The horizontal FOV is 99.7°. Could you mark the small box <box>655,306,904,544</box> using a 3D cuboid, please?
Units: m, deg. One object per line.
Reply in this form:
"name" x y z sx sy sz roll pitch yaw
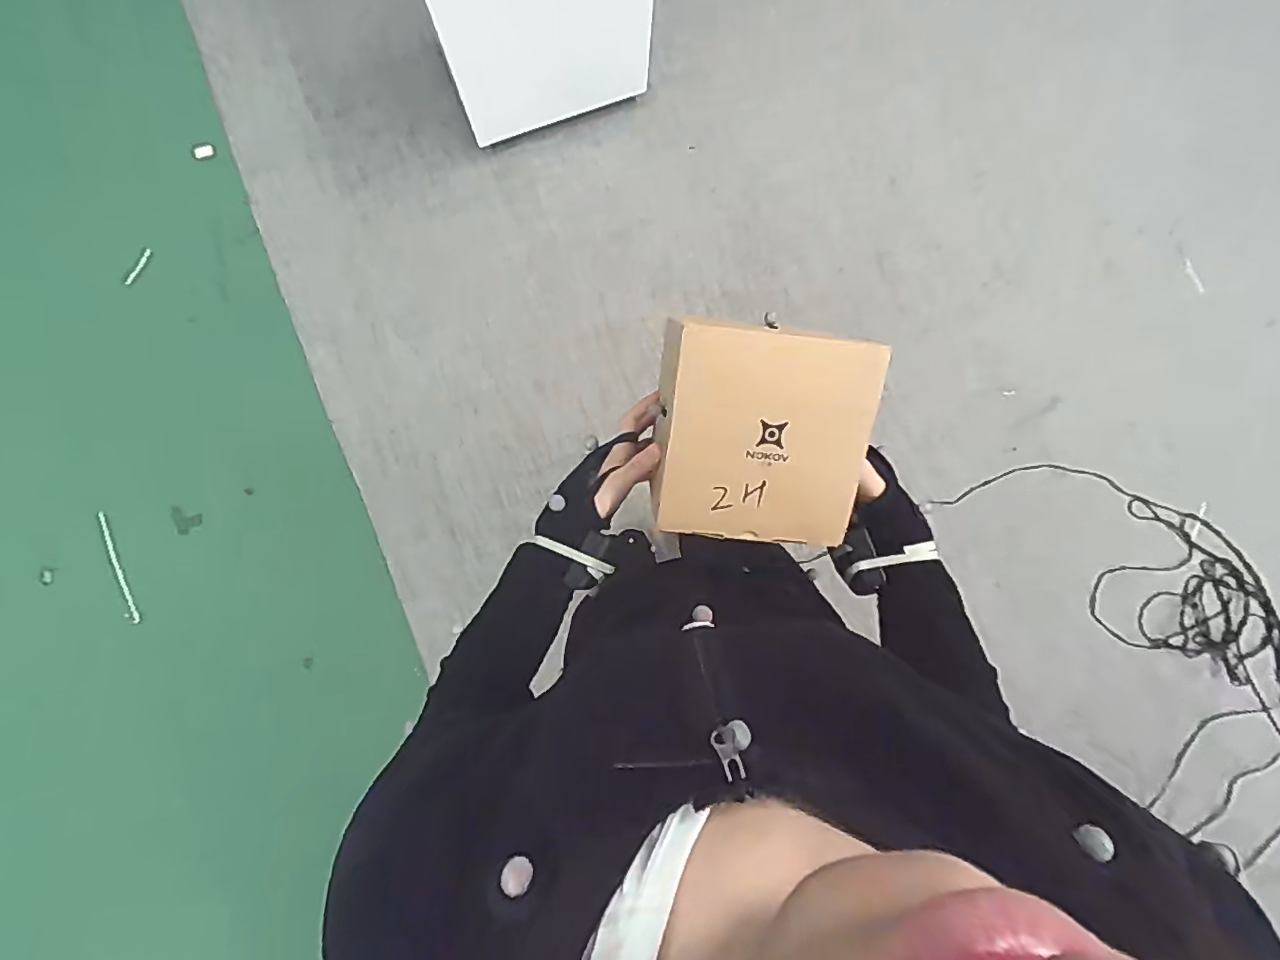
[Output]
"small box" 0.106 -0.060 0.500 0.168 0.176 0.179 6 108 -3
